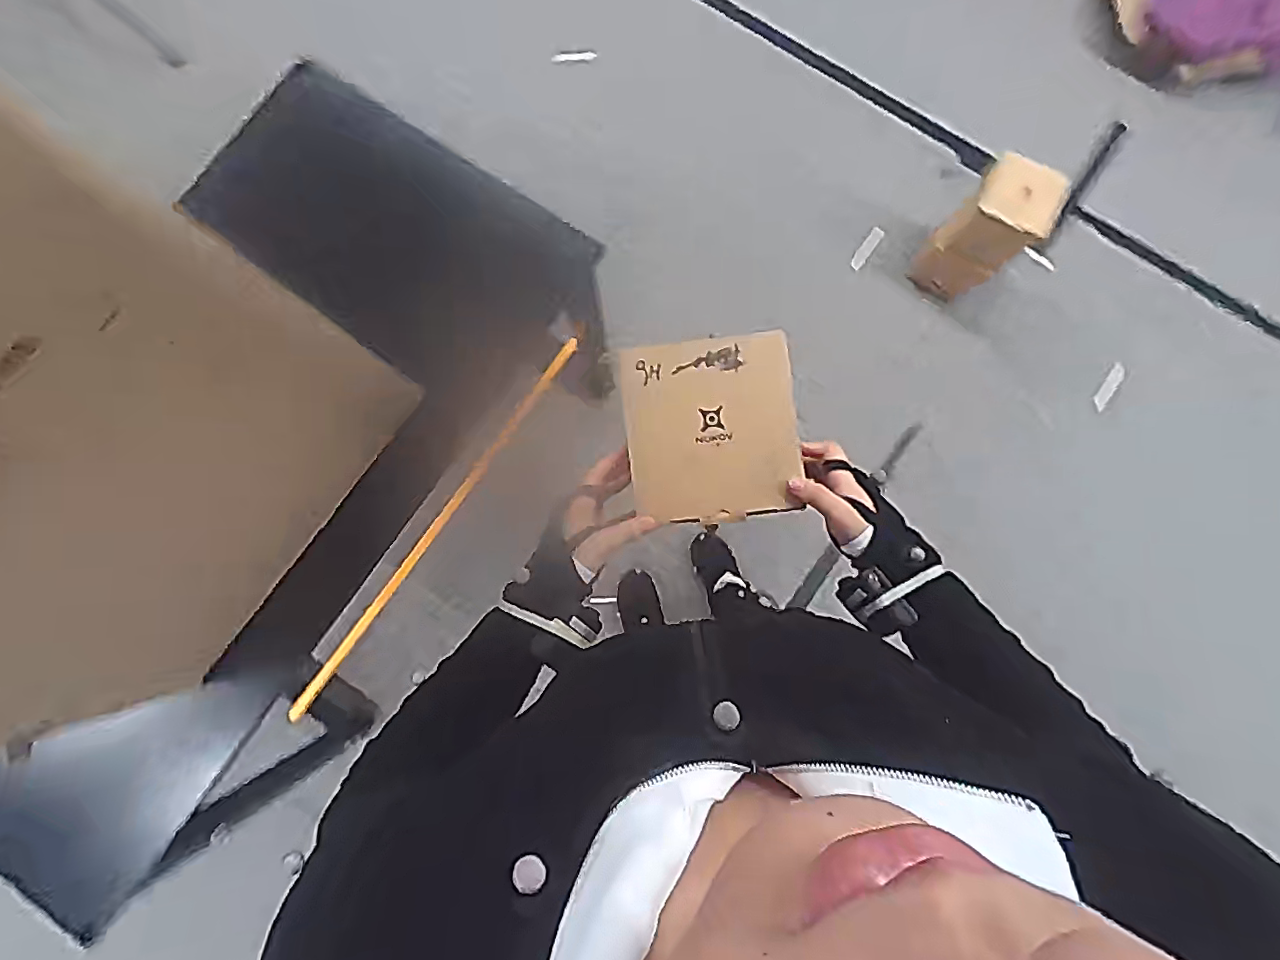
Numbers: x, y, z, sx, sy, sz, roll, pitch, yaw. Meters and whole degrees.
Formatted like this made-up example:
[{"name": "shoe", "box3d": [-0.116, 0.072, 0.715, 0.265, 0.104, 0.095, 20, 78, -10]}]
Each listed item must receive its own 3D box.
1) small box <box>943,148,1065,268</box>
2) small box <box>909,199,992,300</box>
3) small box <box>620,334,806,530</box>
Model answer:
[{"name": "small box", "box3d": [0.904, -0.675, 1.359, 0.168, 0.176, 0.179, 26, 84, 5]}, {"name": "small box", "box3d": [0.895, -0.645, 1.522, 0.168, 0.176, 0.179, 31, 85, 5]}, {"name": "small box", "box3d": [0.072, -0.045, 0.594, 0.168, 0.176, 0.179, -6, 88, 0]}]
